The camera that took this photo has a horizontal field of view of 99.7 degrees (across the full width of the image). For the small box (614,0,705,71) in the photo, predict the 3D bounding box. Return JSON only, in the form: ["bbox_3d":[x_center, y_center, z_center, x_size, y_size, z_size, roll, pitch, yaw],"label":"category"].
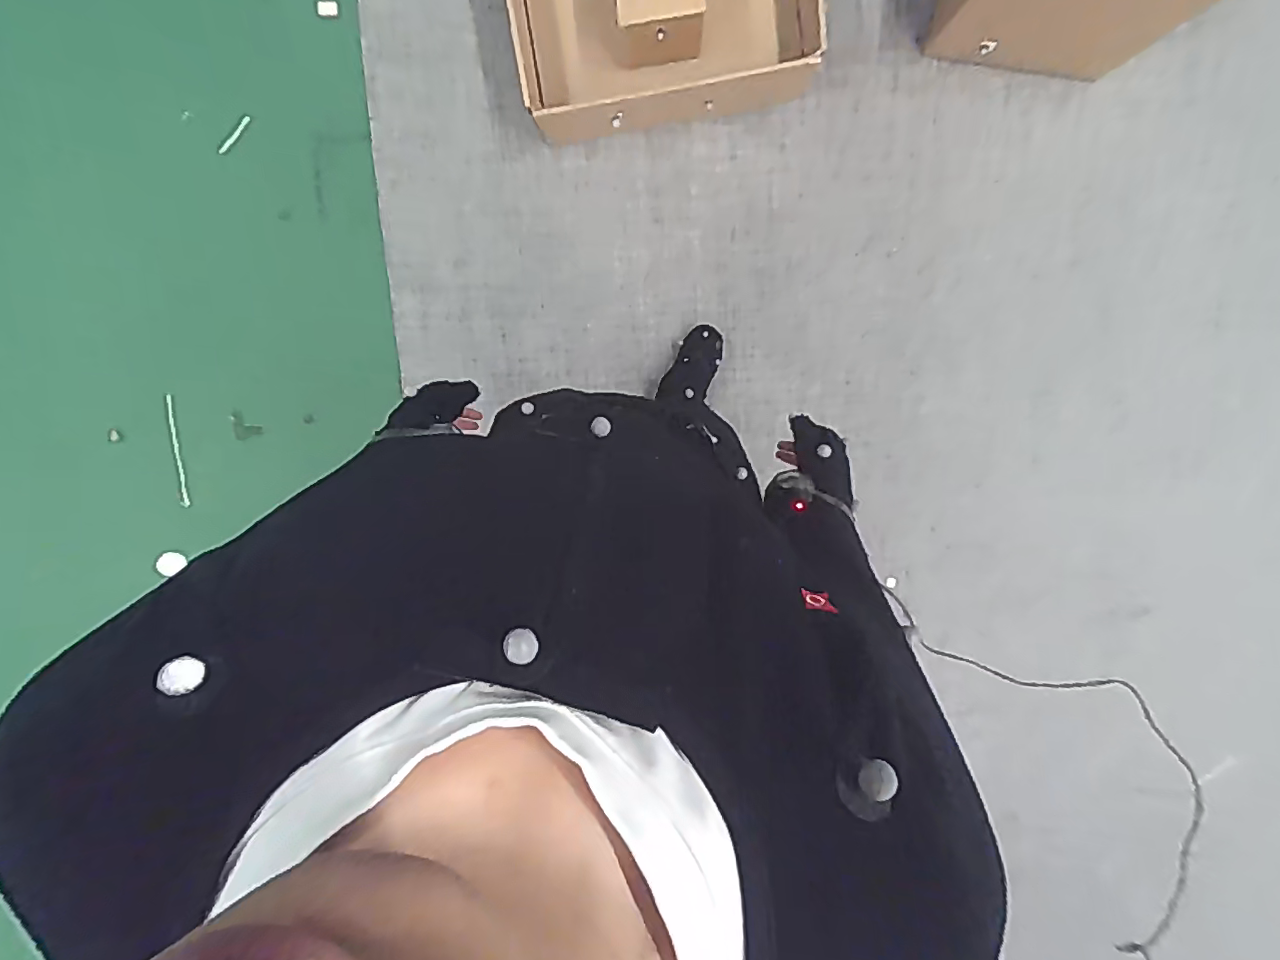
[{"bbox_3d":[0.035,-0.994,1.127,0.179,0.176,0.168,-7,102,2],"label":"small box"}]
